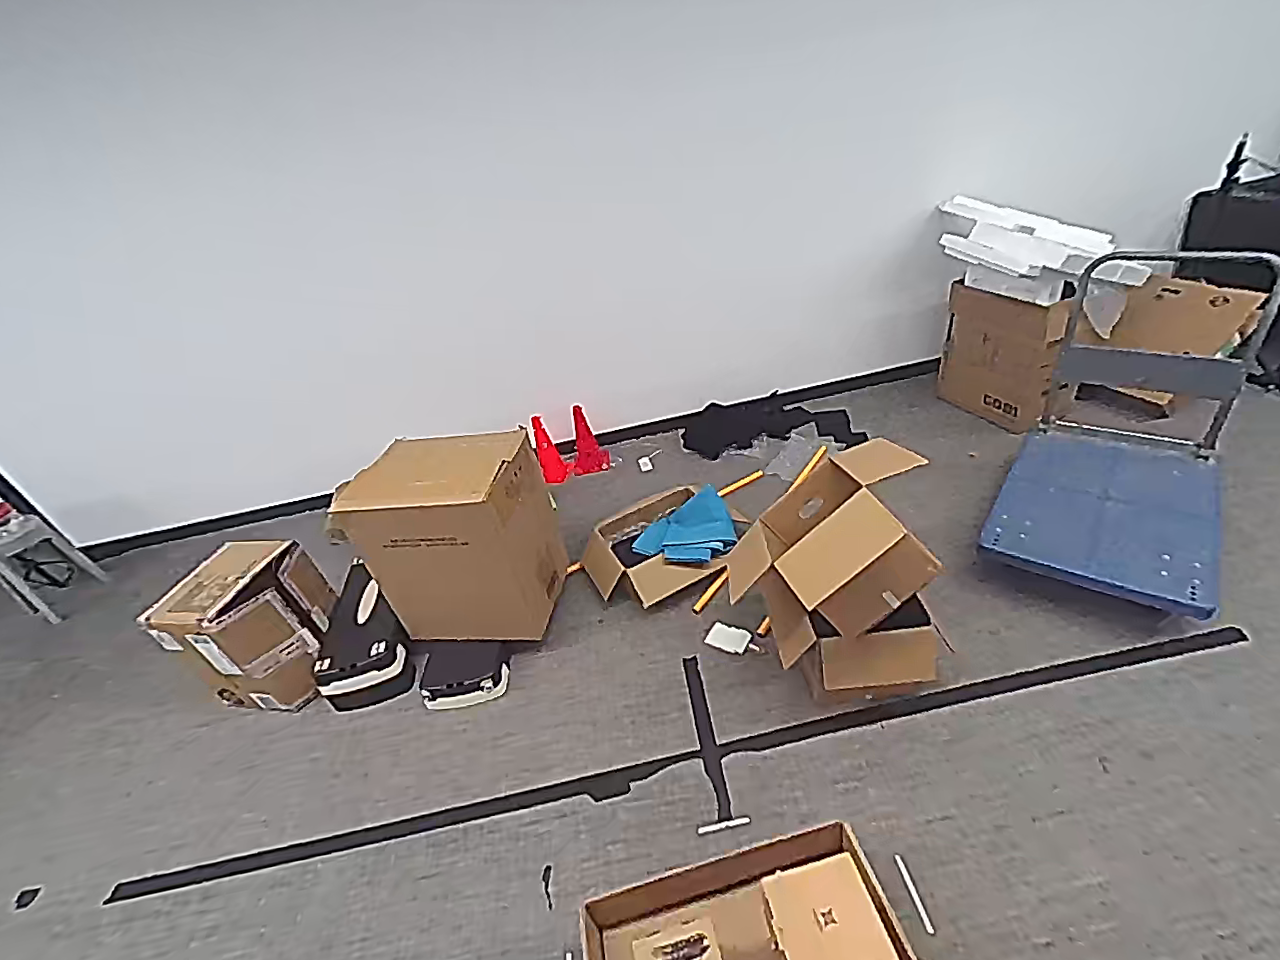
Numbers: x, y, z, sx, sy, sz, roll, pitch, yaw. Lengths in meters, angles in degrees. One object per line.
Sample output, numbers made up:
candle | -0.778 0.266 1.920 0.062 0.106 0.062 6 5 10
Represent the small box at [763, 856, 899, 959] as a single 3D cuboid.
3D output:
small box | 0.333 0.815 0.963 0.179 0.176 0.168 -16 34 -3
